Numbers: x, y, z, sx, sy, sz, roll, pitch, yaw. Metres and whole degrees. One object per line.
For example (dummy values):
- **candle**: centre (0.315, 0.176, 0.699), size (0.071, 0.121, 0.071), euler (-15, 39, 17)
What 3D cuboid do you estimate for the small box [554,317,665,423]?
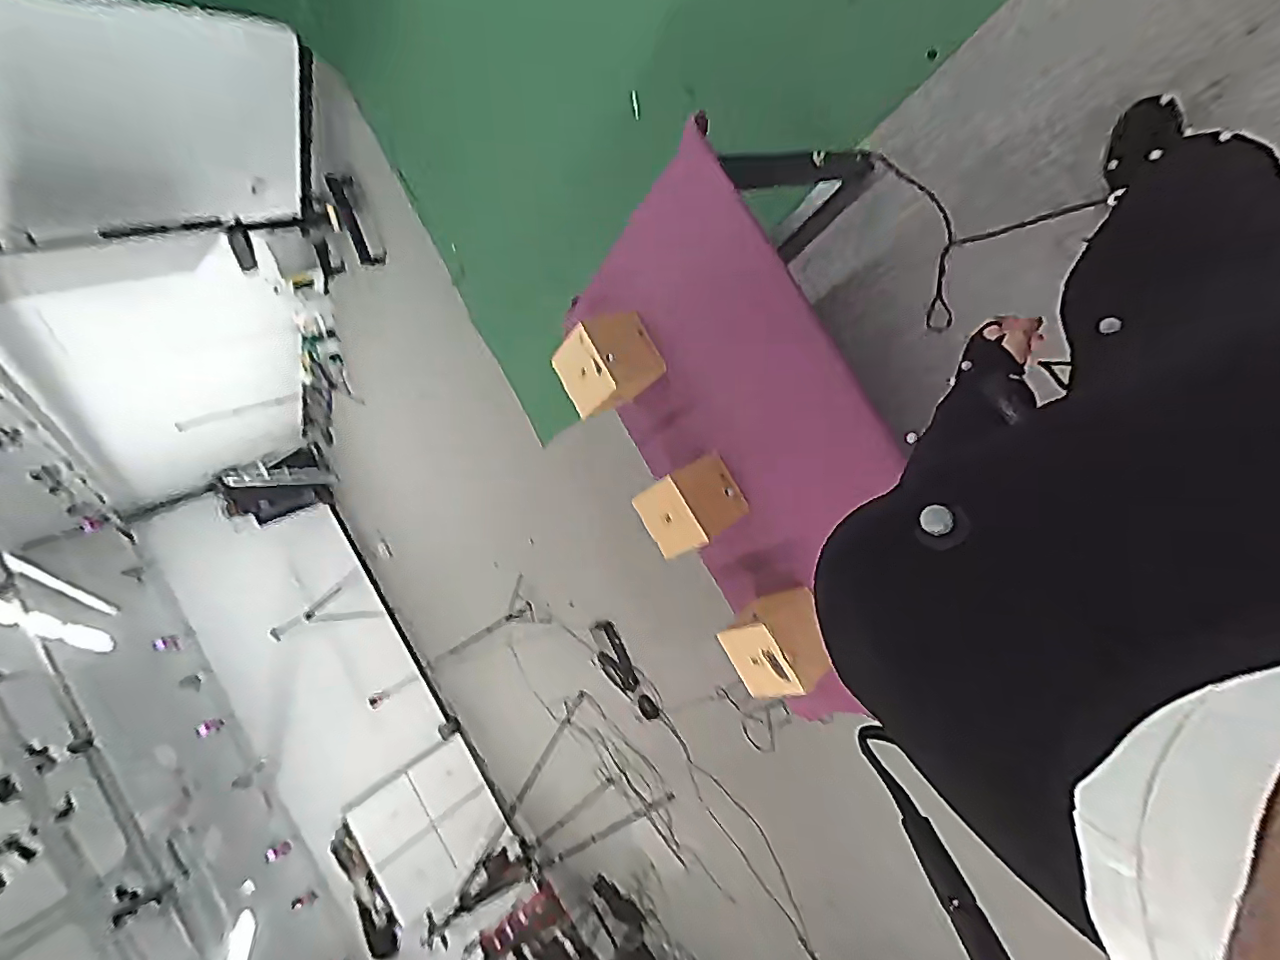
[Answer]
- **small box**: centre (-0.072, -0.265, 1.295), size (0.168, 0.176, 0.179), euler (60, 144, 2)

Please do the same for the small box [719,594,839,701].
- **small box**: centre (0.320, 0.375, 1.223), size (0.168, 0.176, 0.179), euler (60, 144, 5)

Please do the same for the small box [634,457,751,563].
- **small box**: centre (0.124, 0.070, 1.271), size (0.168, 0.176, 0.179), euler (59, 143, 4)
